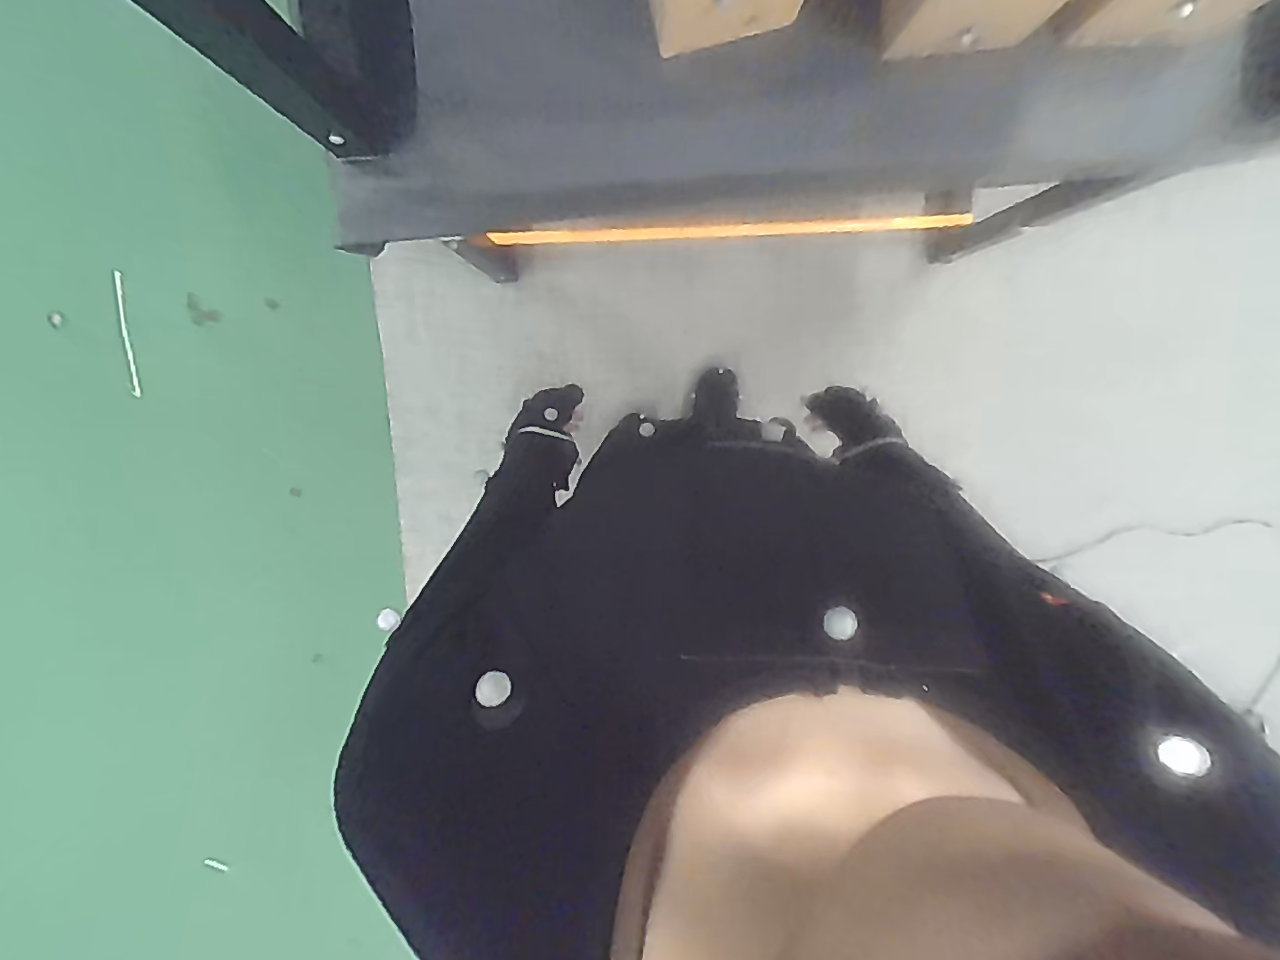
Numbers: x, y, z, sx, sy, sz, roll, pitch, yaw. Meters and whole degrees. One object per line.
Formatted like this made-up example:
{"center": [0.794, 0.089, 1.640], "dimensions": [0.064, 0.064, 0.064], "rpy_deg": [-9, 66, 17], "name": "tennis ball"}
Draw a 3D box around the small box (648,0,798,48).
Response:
{"center": [0.086, -0.595, 0.560], "dimensions": [0.168, 0.176, 0.179], "rpy_deg": [-14, 99, 2], "name": "small box"}
